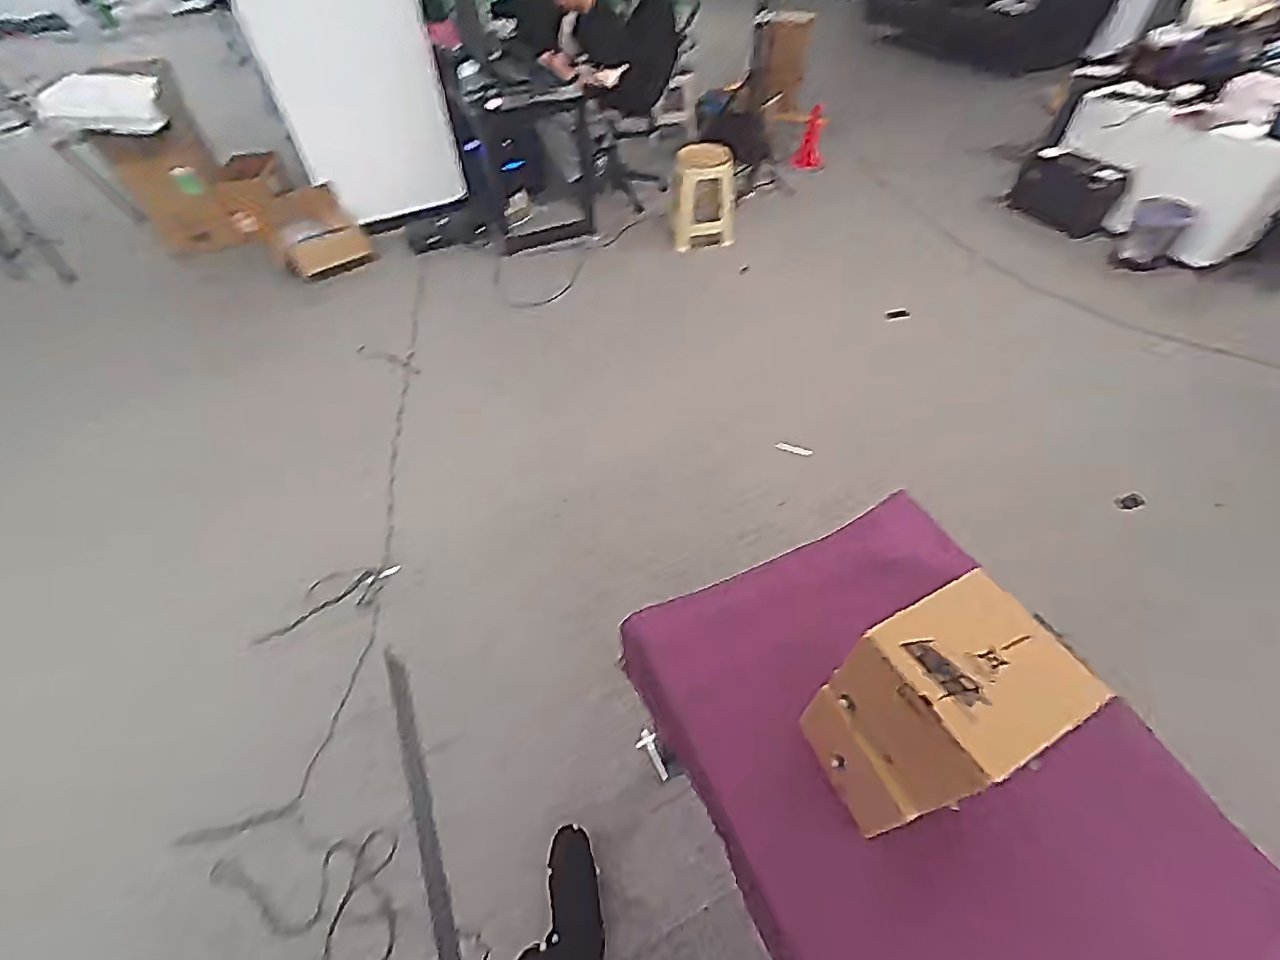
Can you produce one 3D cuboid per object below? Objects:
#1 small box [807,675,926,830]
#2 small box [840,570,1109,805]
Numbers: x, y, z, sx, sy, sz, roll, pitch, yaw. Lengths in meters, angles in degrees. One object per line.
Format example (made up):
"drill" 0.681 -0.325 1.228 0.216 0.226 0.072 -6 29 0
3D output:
"small box" 0.349 0.350 0.739 0.179 0.176 0.168 -18 53 -13
"small box" 0.354 0.239 0.617 0.179 0.176 0.168 -21 54 -16
